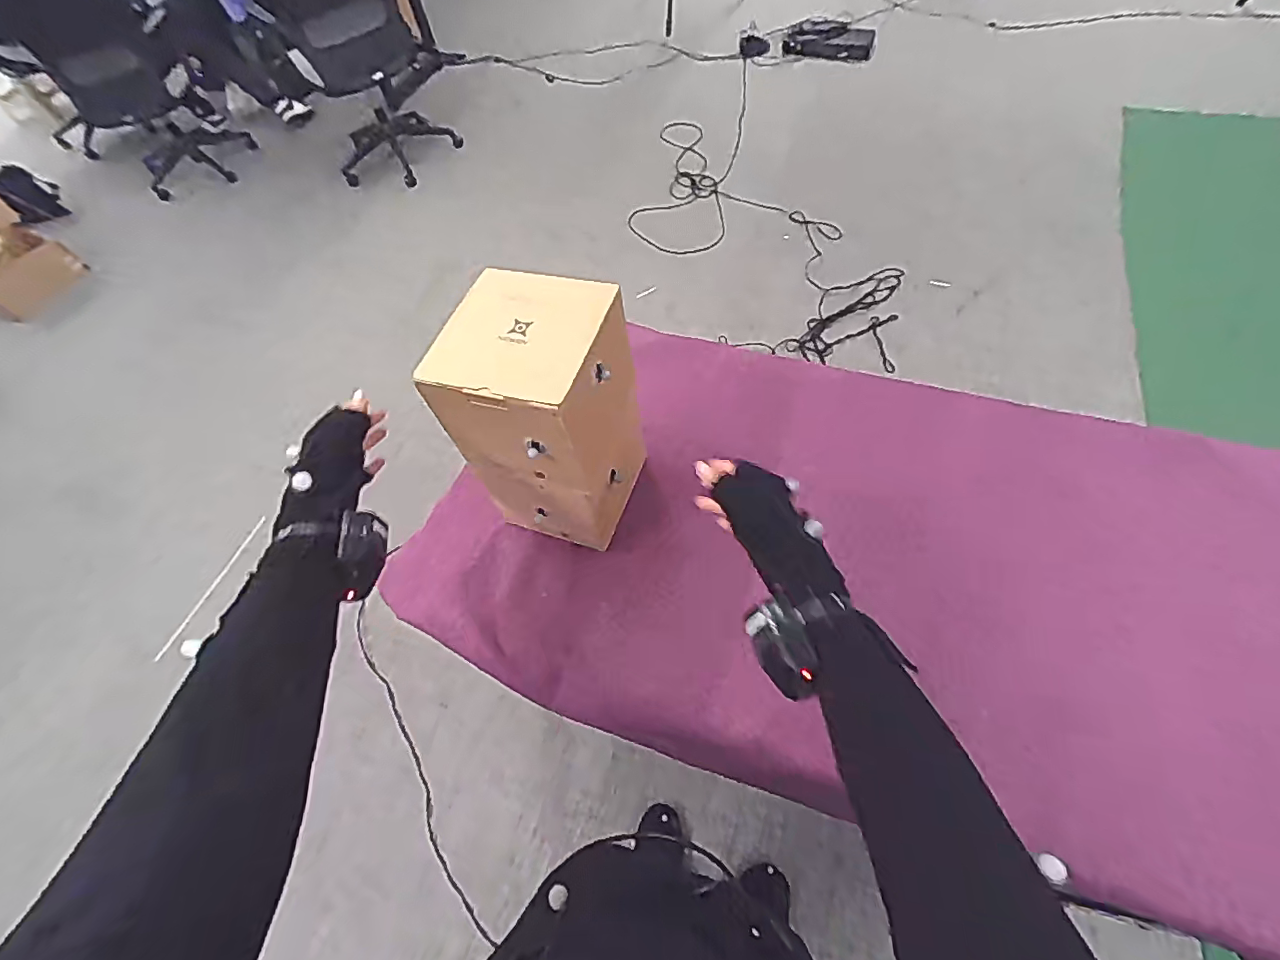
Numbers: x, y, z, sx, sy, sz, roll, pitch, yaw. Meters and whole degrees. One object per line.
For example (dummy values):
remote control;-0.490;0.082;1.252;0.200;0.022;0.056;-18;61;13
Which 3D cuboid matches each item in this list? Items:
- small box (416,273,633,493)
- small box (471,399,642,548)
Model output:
small box;-0.114;-0.108;0.628;0.168;0.176;0.179;13;60;14
small box;-0.103;-0.026;0.770;0.168;0.176;0.179;15;62;15
